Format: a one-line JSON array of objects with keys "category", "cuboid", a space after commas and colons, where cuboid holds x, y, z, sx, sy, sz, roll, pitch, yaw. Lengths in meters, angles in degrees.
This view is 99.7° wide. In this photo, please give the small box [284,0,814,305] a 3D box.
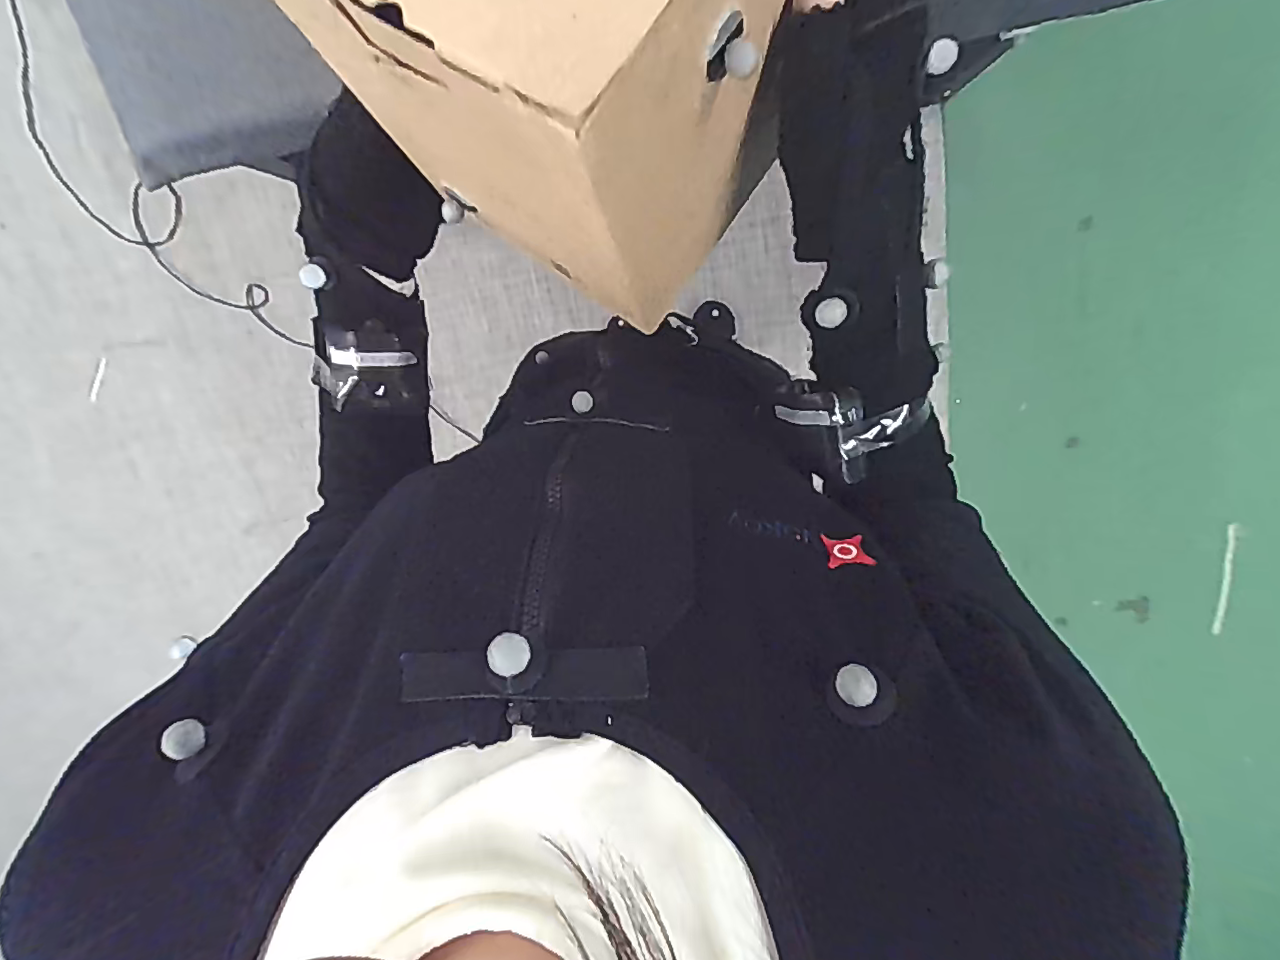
[{"category": "small box", "cuboid": [-0.025, -0.217, 0.257, 0.168, 0.176, 0.179, 35, 90, 9]}]
